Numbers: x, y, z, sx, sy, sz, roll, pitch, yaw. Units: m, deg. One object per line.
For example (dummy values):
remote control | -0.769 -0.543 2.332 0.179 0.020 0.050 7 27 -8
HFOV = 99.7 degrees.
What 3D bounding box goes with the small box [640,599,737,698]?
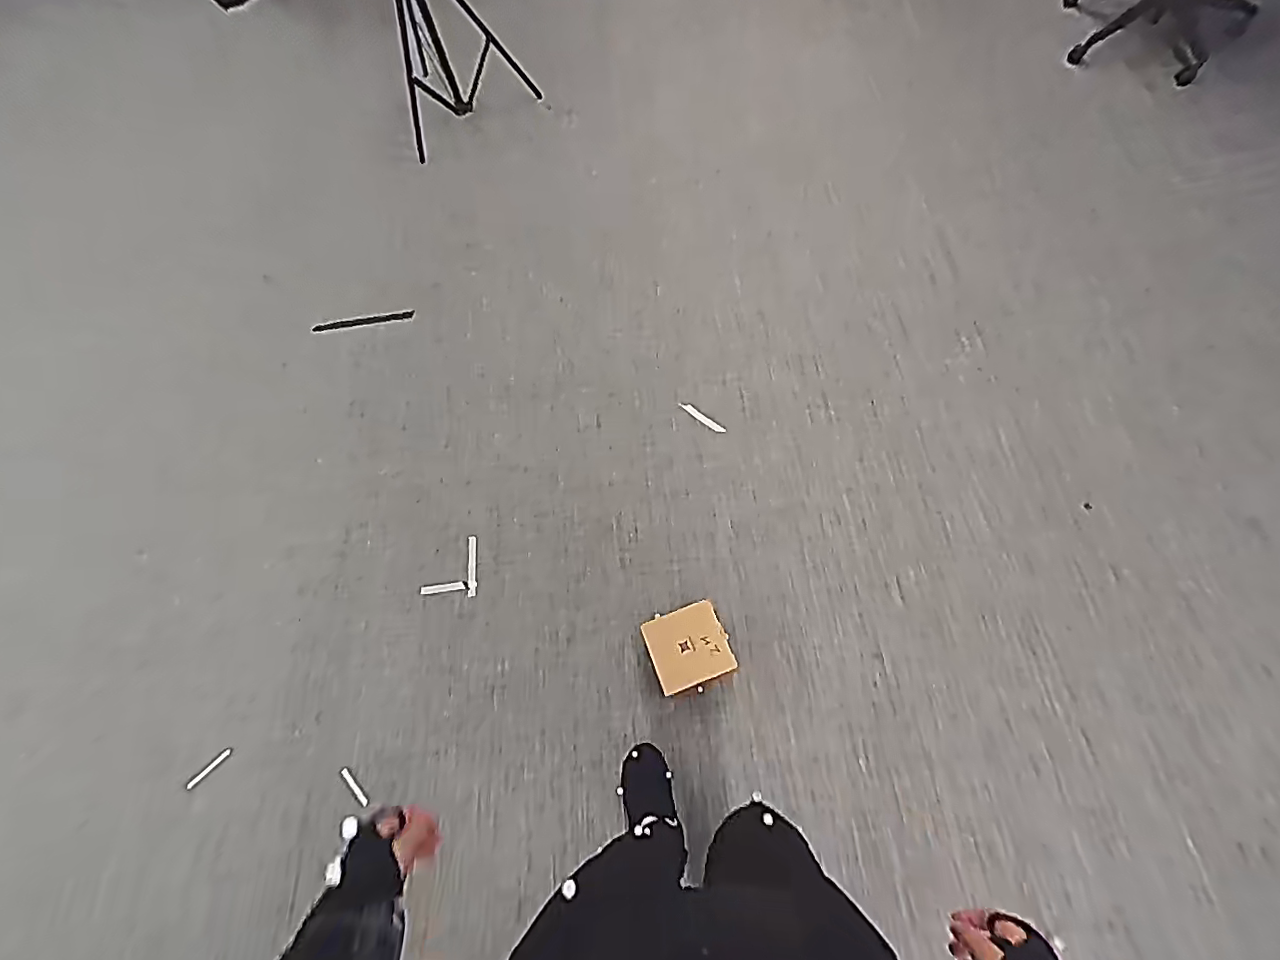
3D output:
small box | 0.115 0.404 1.280 0.179 0.176 0.168 -21 65 -4
